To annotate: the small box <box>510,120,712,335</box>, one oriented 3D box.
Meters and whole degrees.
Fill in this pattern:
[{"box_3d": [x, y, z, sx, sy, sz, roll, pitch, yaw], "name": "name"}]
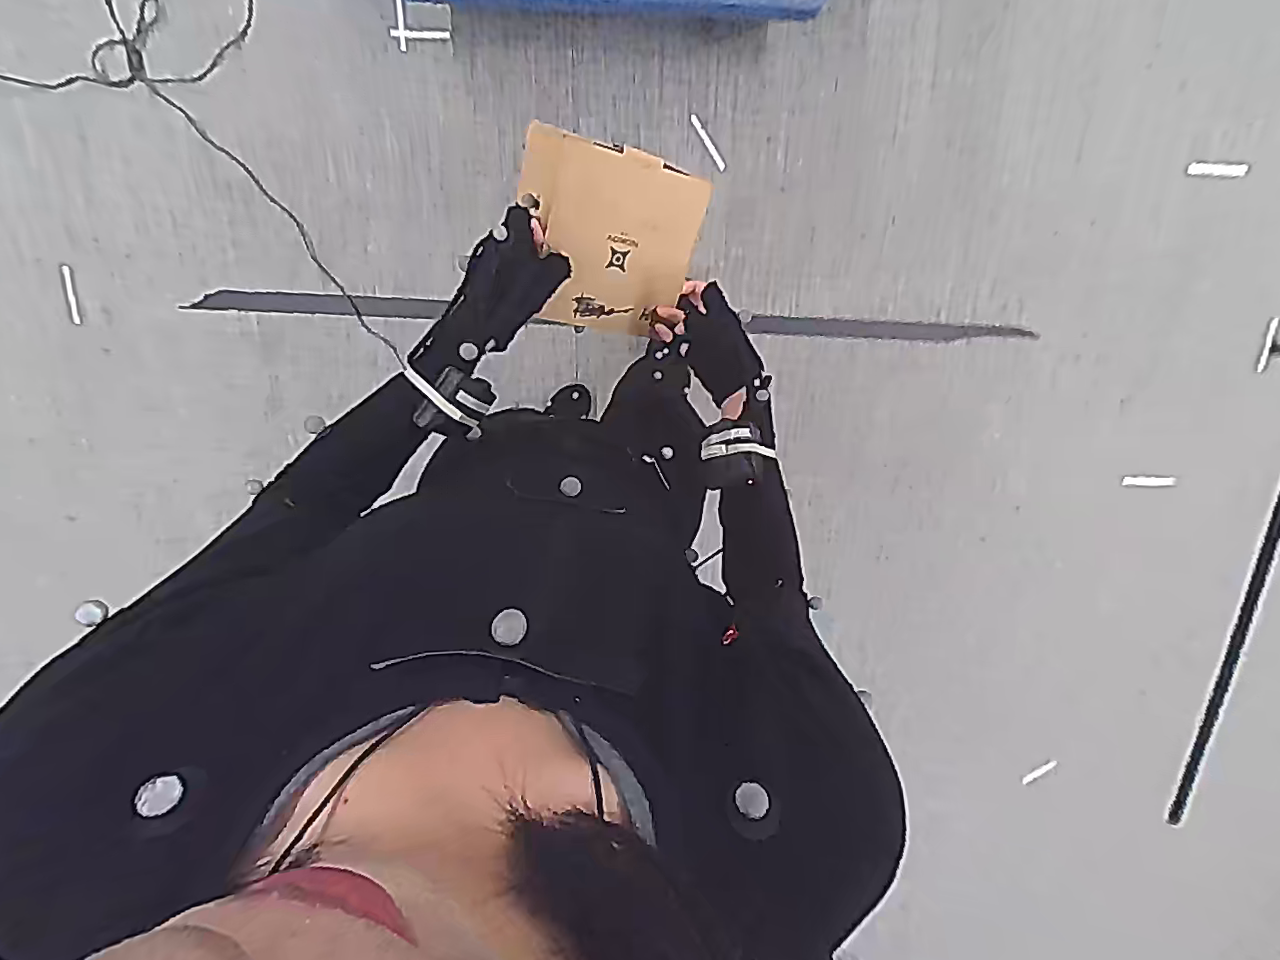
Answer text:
[{"box_3d": [-0.047, -0.293, 0.628, 0.168, 0.176, 0.179, 3, 124, -26], "name": "small box"}]
